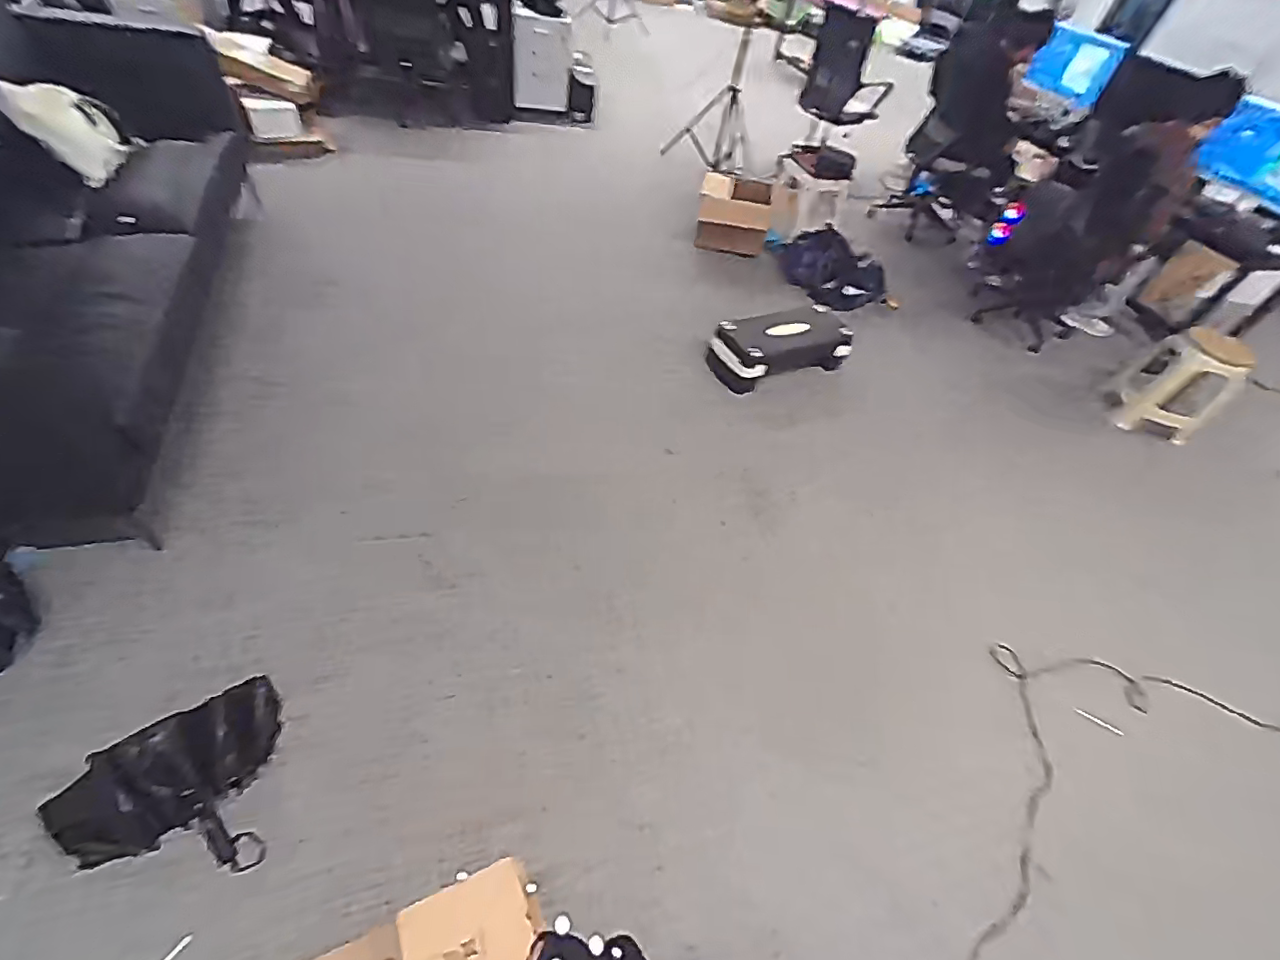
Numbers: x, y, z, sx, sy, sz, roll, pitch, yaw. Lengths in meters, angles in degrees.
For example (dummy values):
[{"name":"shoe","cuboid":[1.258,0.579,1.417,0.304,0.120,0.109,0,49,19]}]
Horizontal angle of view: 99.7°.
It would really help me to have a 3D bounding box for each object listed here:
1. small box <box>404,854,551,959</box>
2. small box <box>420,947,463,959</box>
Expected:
[{"name":"small box","cuboid":[-0.241,0.709,0.822,0.179,0.176,0.168,-16,52,-22]},{"name":"small box","cuboid":[-0.282,0.677,0.618,0.168,0.176,0.179,-10,55,-19]}]
